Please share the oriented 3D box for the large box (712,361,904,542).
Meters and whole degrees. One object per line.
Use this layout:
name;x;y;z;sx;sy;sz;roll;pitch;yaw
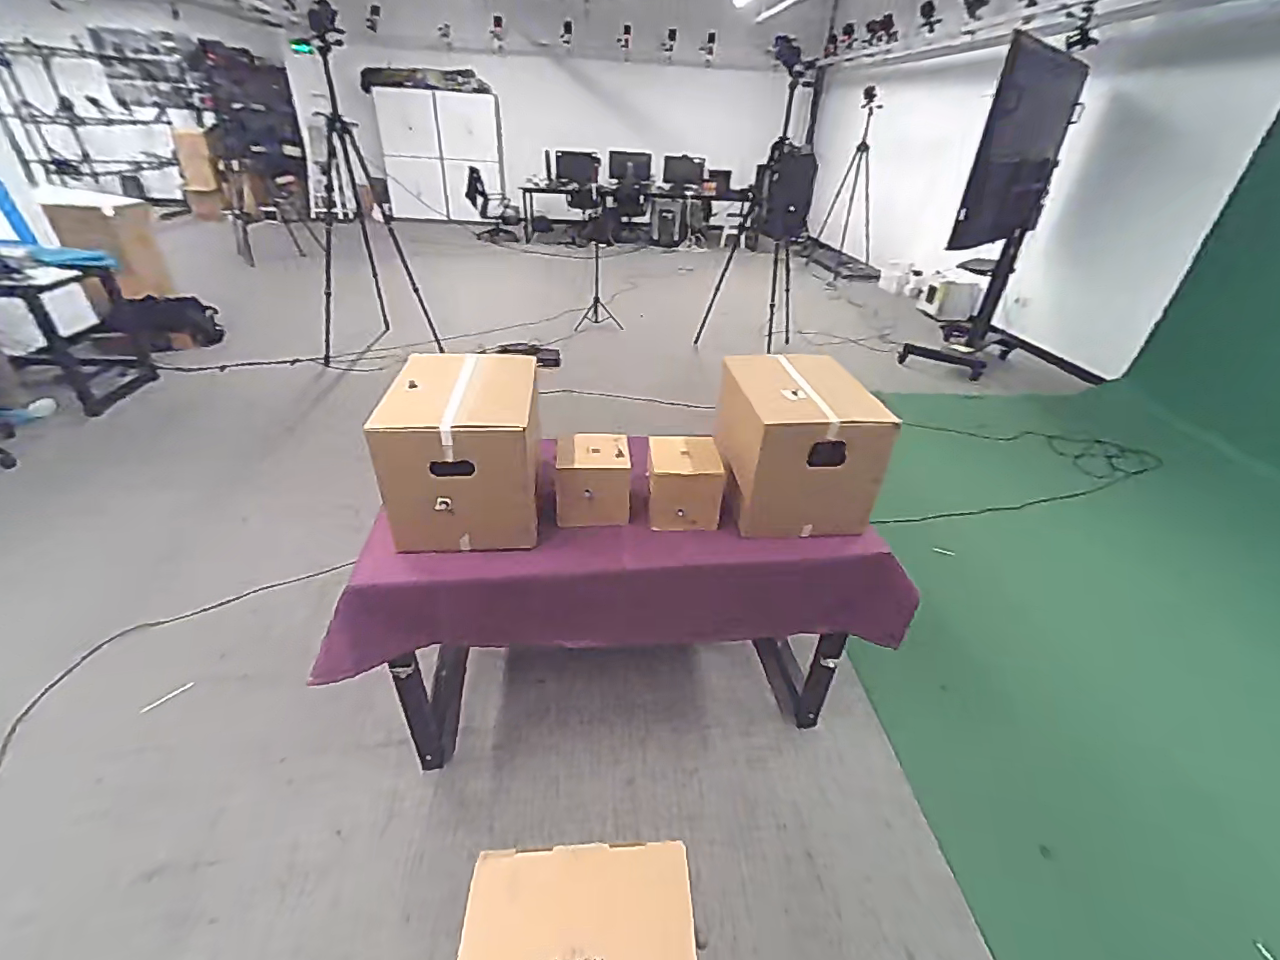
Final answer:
large box;0.396;-0.084;1.402;0.320;0.320;0.408;0;34;-6
